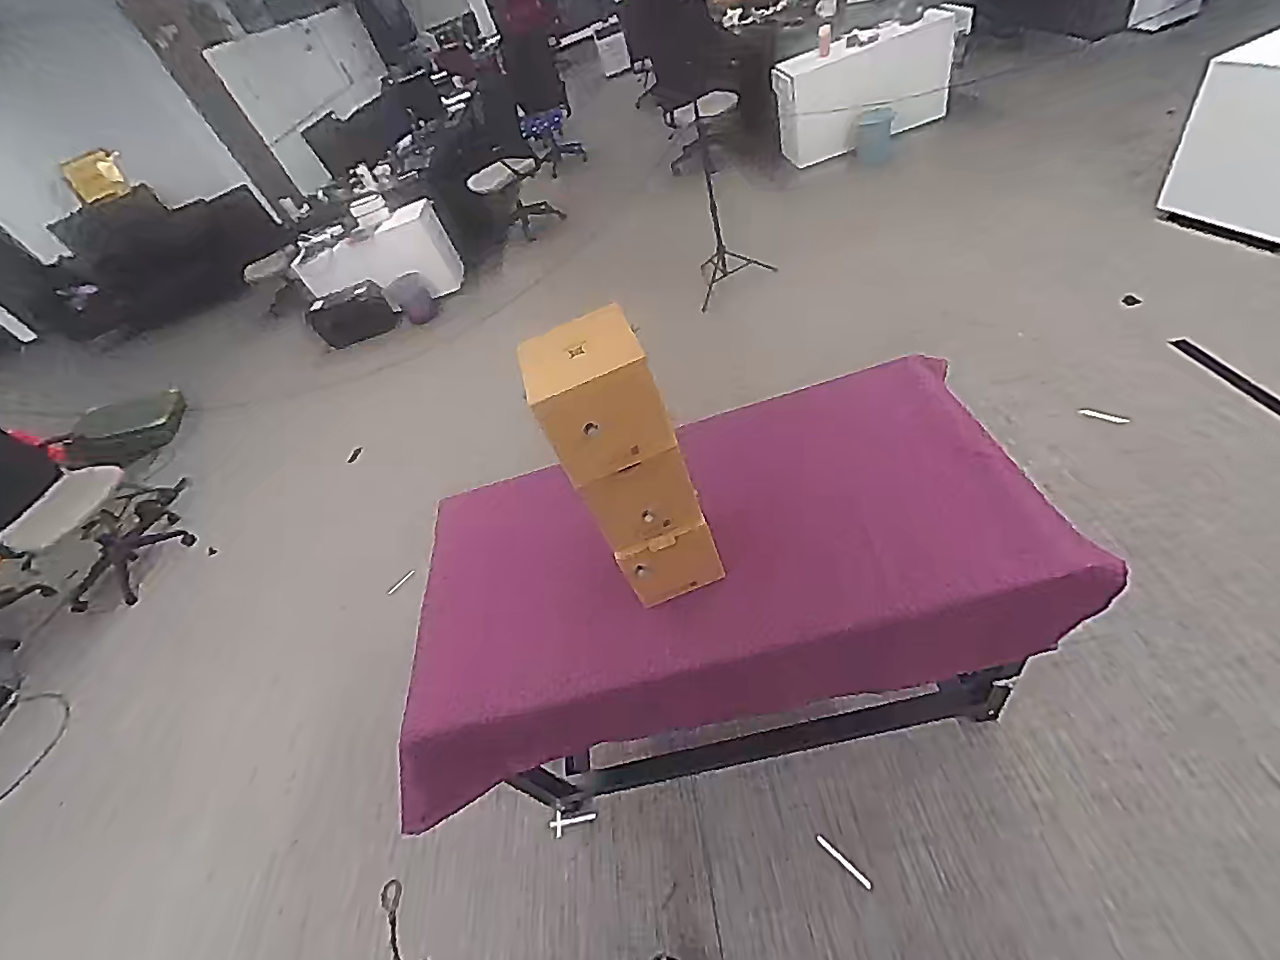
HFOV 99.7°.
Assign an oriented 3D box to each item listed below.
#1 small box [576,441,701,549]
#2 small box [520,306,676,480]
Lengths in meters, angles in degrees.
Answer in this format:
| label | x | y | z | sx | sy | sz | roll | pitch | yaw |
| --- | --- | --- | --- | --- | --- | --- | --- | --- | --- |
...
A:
| label | x | y | z | sx | sy | sz | roll | pitch | yaw |
| --- | --- | --- | --- | --- | --- | --- | --- | --- | --- |
| small box | -0.011 | -0.016 | 0.915 | 0.168 | 0.176 | 0.179 | -21 | 44 | 3 |
| small box | -0.060 | -0.121 | 0.801 | 0.168 | 0.176 | 0.179 | -23 | 42 | 1 |
